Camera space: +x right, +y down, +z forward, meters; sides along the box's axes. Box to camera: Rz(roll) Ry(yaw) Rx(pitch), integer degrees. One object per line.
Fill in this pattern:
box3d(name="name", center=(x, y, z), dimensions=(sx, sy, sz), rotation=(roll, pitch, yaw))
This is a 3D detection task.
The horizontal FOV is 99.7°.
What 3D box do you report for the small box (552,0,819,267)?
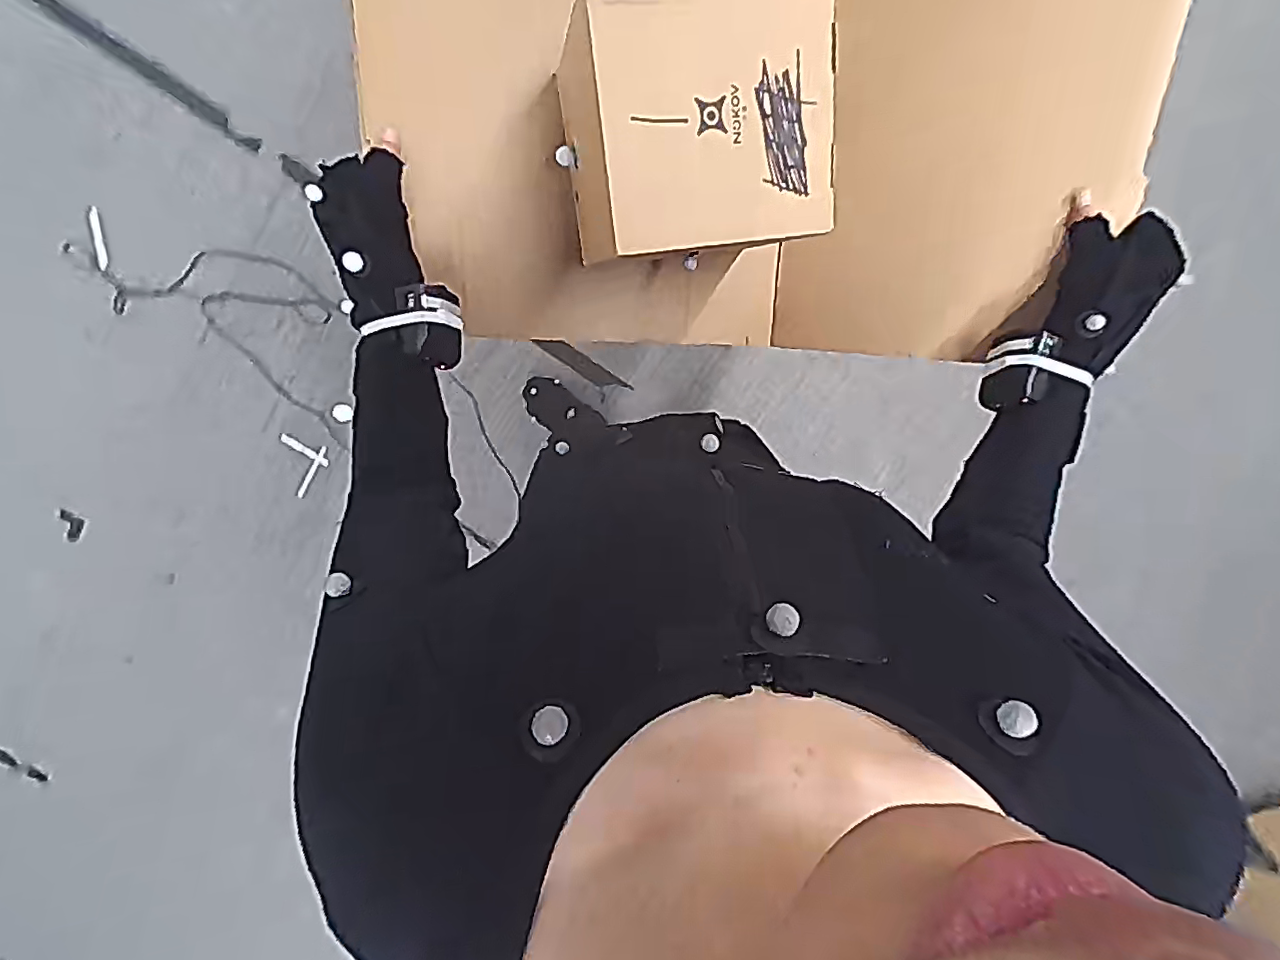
box3d(name="small box", center=(0.030, -0.280, 0.460), dimensions=(0.179, 0.176, 0.168), rotation=(-12, 110, -10))
